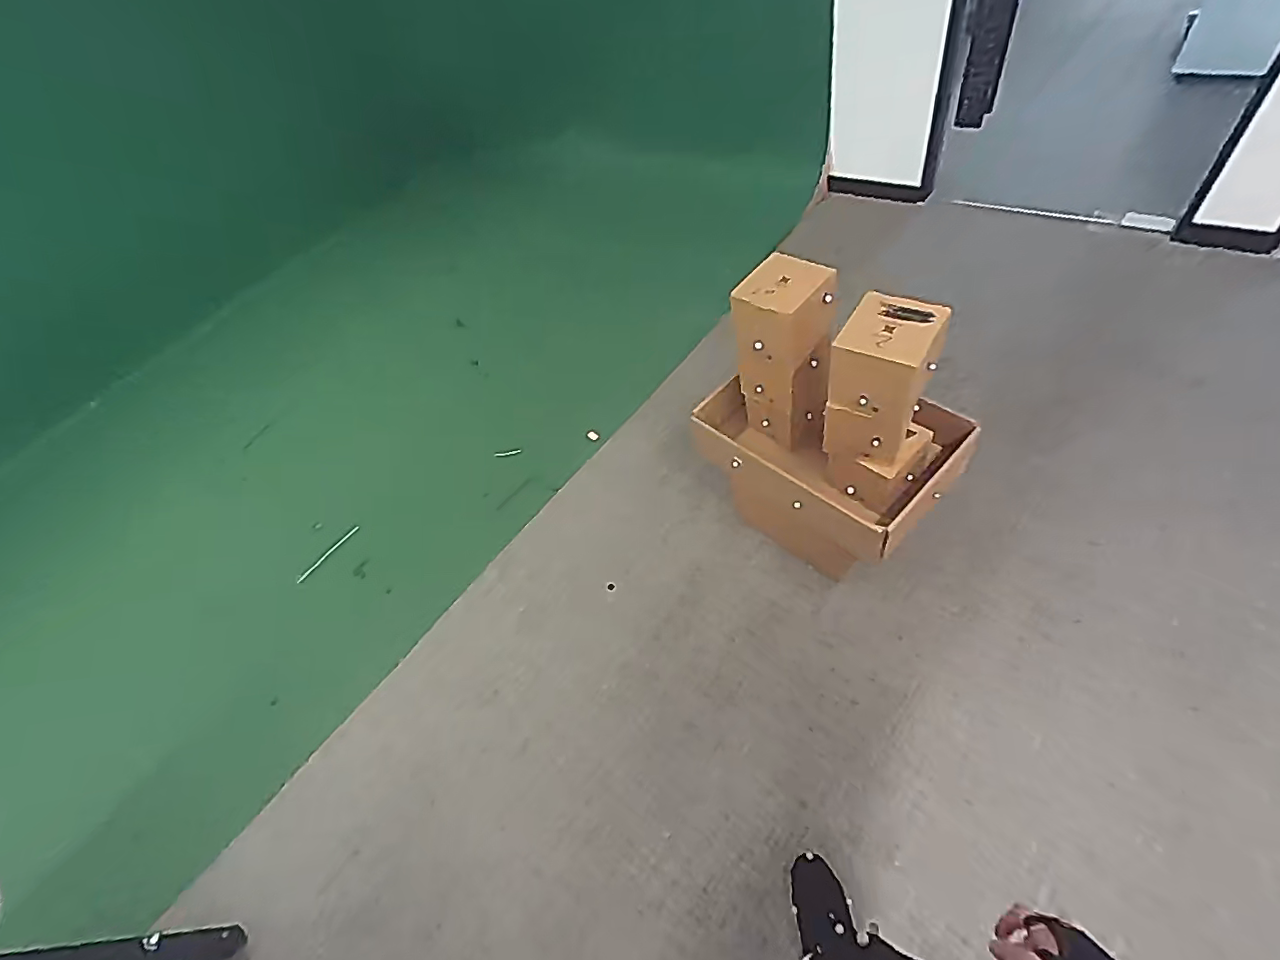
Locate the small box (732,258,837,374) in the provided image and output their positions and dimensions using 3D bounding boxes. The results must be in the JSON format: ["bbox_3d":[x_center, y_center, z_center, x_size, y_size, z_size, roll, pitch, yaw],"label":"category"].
[{"bbox_3d":[0.339,-0.386,1.275,0.168,0.176,0.179,34,70,34],"label":"small box"}]

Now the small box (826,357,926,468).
[{"bbox_3d":[0.539,-0.152,1.250,0.168,0.176,0.179,18,61,27],"label":"small box"}]

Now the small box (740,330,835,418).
[{"bbox_3d":[0.382,-0.298,1.407,0.168,0.176,0.179,34,71,34],"label":"small box"}]
